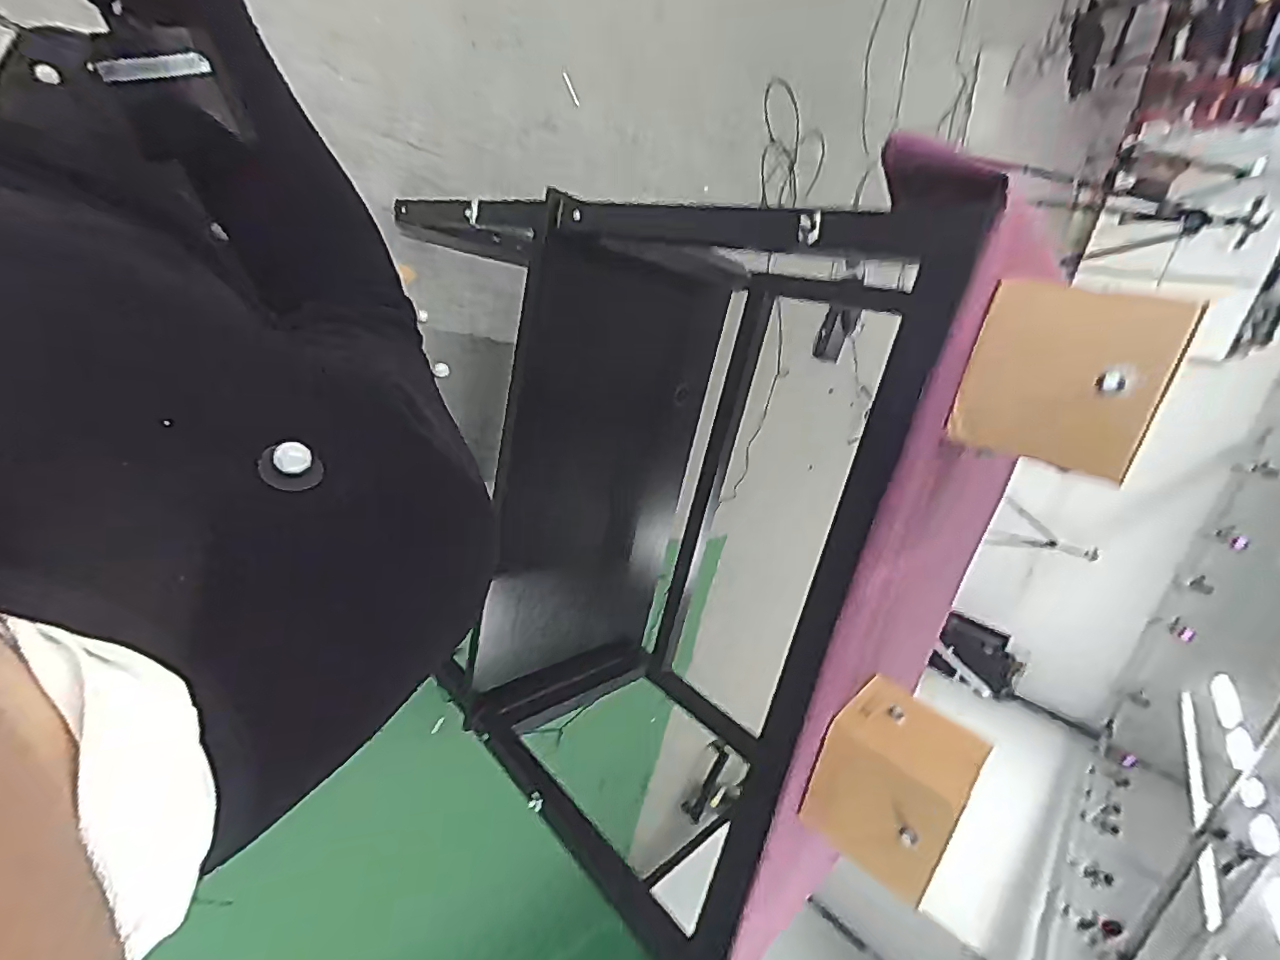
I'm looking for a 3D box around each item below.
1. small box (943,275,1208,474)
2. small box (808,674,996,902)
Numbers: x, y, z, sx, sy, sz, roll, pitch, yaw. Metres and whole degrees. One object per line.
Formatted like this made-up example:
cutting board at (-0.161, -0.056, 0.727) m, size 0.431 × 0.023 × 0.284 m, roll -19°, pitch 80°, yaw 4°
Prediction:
small box at (0.465, -0.117, 0.596) m, size 0.168 × 0.176 × 0.179 m, roll -5°, pitch 113°, yaw -47°
small box at (0.355, 0.407, 0.748) m, size 0.168 × 0.176 × 0.179 m, roll -9°, pitch 115°, yaw -47°
